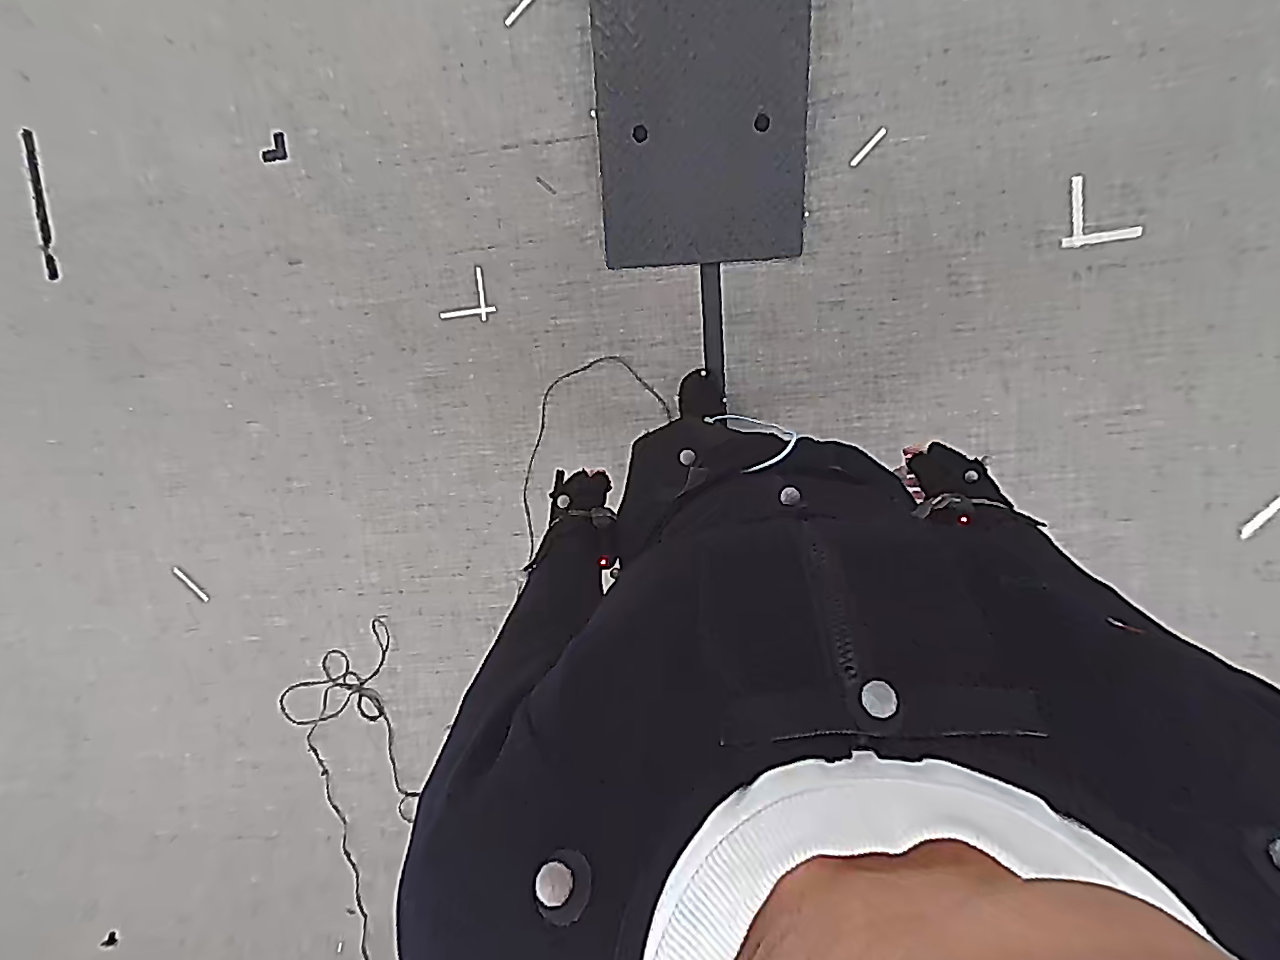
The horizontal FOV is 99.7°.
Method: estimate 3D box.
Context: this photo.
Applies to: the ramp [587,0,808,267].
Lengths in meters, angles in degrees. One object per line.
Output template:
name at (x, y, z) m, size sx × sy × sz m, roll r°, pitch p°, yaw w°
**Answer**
ramp at (0.127, -1.026, 1.209) m, size 0.509 × 0.206 × 0.991 m, roll -3°, pitch 98°, yaw 5°
